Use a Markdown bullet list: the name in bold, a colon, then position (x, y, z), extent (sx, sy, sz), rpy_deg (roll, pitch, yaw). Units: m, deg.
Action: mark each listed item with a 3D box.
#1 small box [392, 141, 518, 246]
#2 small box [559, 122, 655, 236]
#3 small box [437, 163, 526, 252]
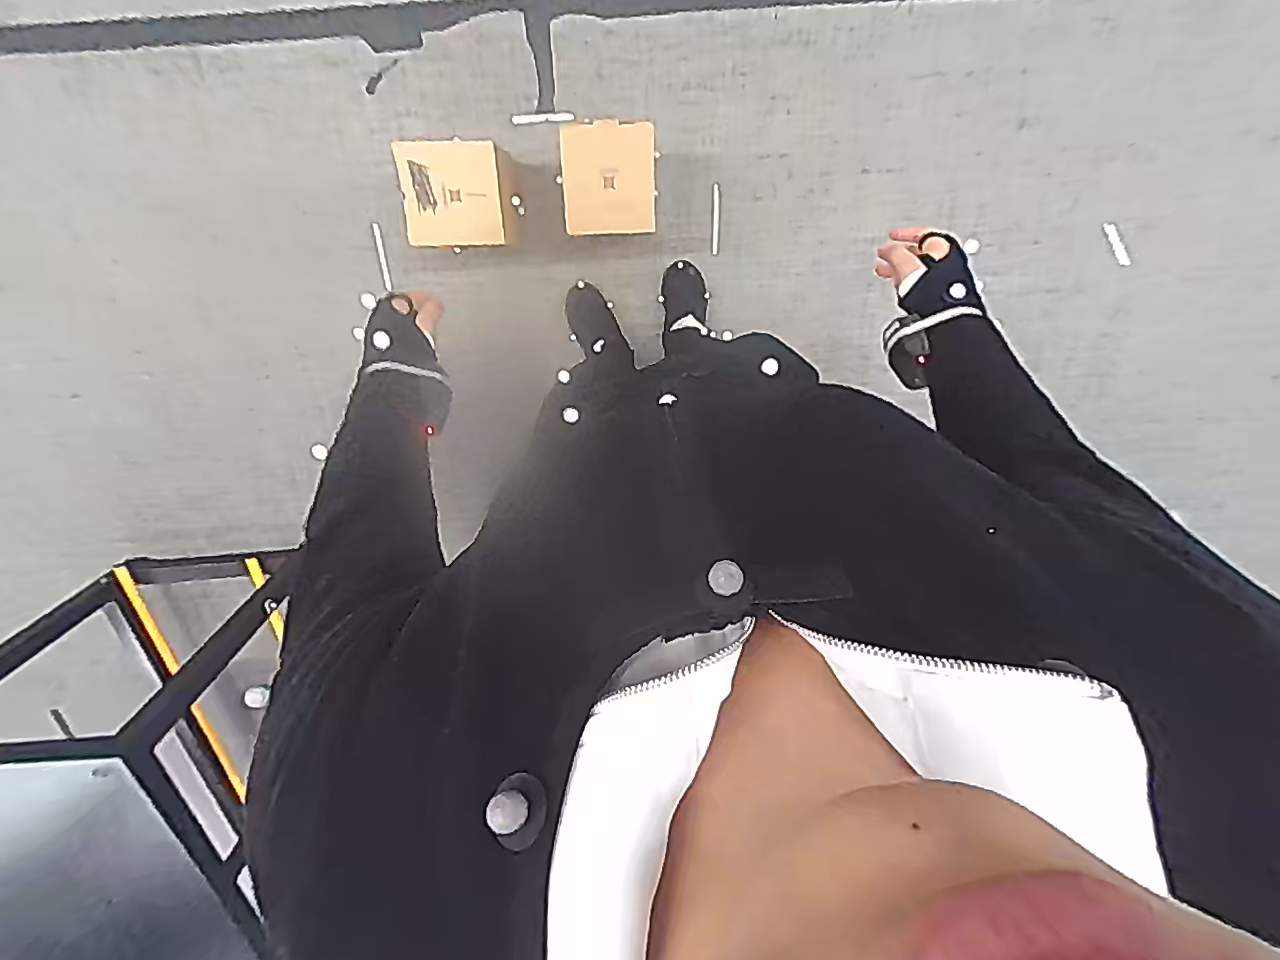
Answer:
- **small box**: position (-0.338, -0.533, 1.024), extent (0.179, 0.176, 0.168), rpy_deg (-2, 115, -2)
- **small box**: position (-0.059, -0.562, 1.027), extent (0.168, 0.176, 0.179), rpy_deg (-2, 117, -1)
- **small box**: position (-0.347, -0.597, 1.176), extent (0.168, 0.176, 0.179), rpy_deg (-1, 116, -1)
